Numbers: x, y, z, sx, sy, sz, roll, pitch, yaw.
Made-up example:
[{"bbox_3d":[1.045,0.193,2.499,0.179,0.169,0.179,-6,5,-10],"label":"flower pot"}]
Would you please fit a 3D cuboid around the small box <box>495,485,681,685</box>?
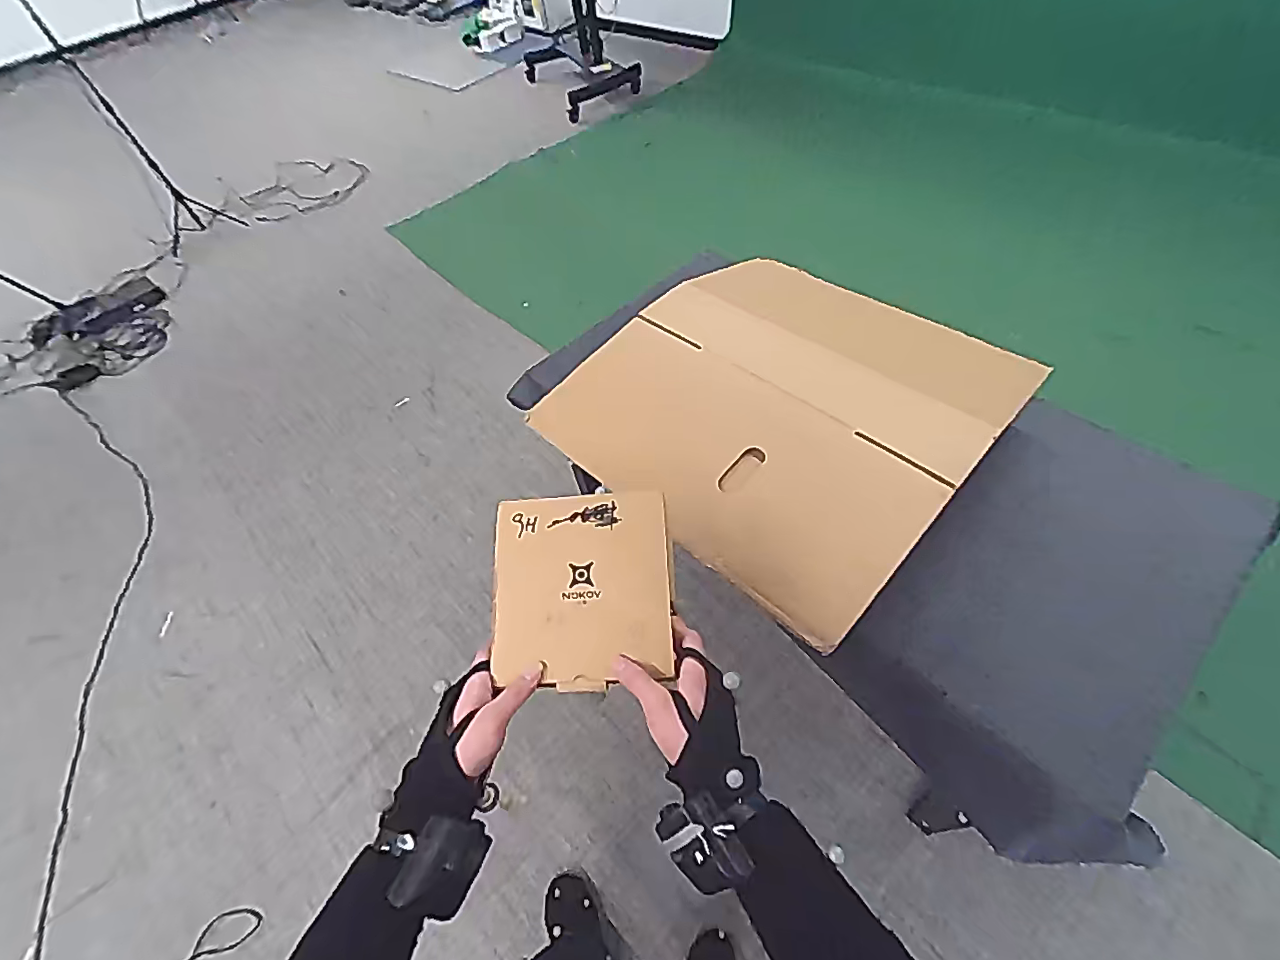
[{"bbox_3d":[-0.047,0.121,0.584,0.168,0.176,0.179,-7,69,4],"label":"small box"}]
